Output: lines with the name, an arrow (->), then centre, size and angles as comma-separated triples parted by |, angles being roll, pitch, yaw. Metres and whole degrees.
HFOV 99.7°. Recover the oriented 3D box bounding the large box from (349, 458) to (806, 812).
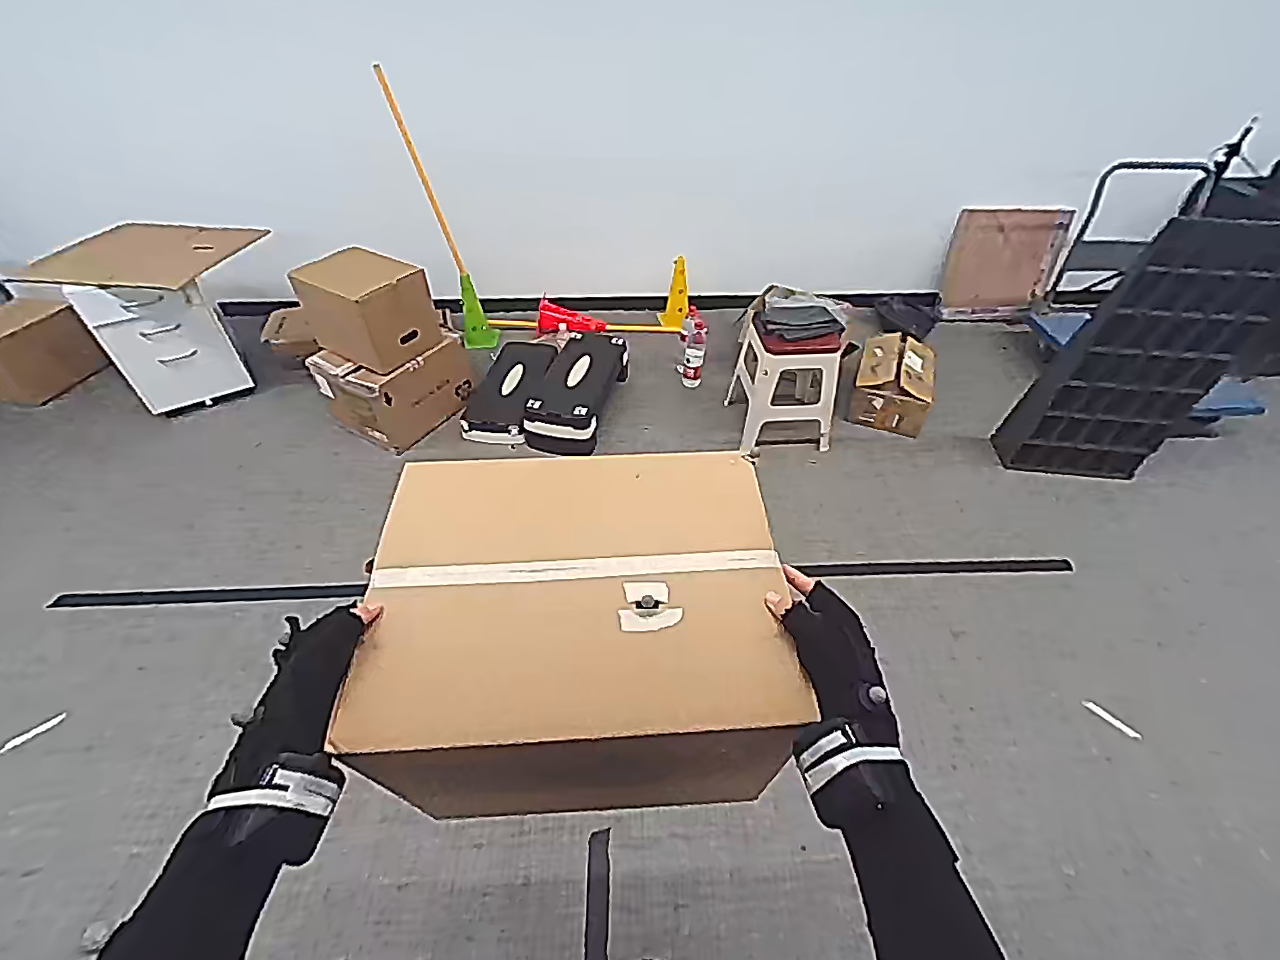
large box -> -0.064, 0.194, 0.672 | 0.408, 0.320, 0.320 | -2, 50, -3
